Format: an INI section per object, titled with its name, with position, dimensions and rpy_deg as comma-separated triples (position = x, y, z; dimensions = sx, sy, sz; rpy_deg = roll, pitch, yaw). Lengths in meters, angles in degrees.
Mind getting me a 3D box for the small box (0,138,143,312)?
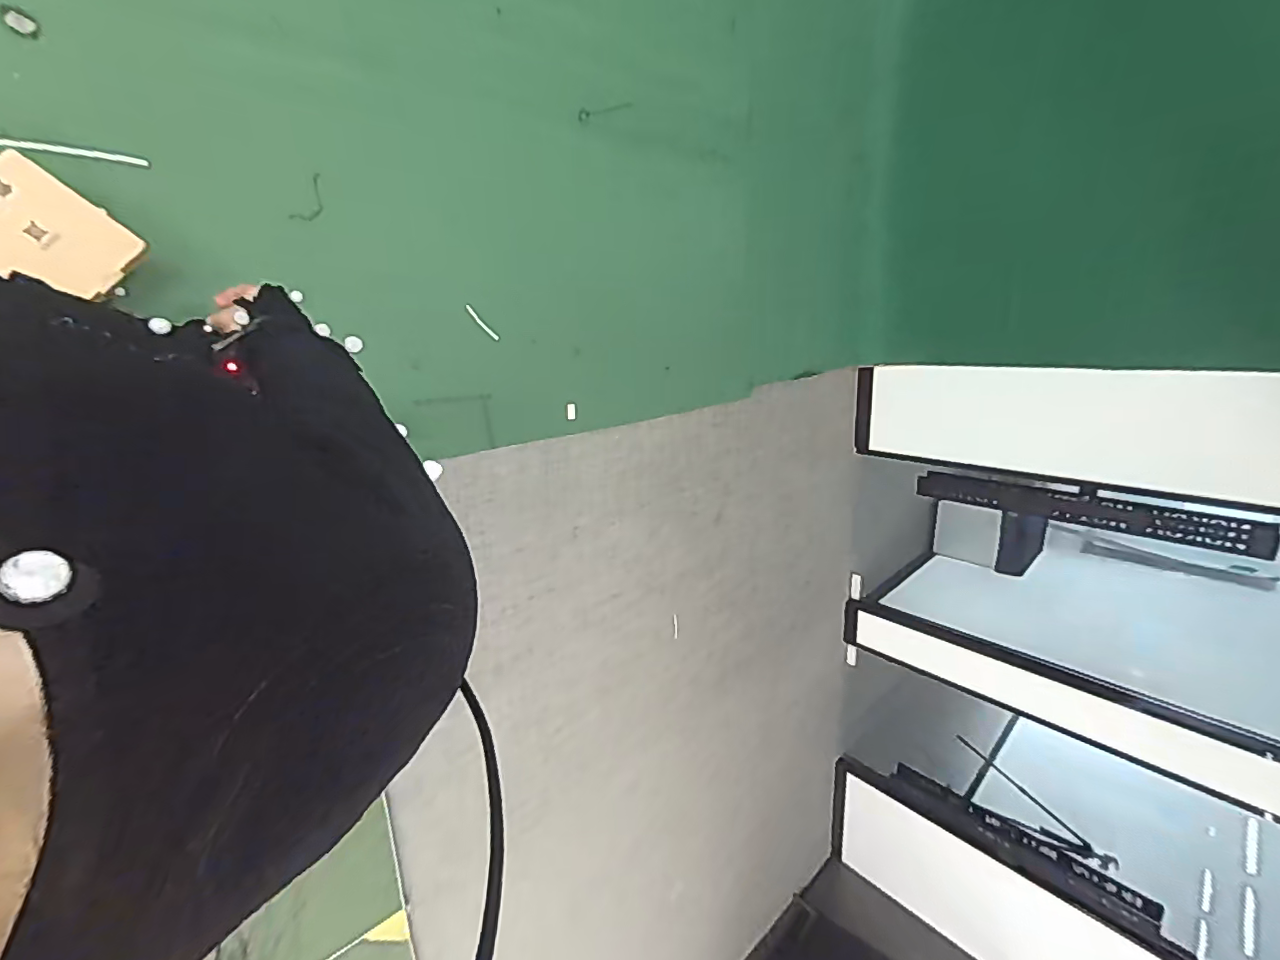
[small box]
position = -0.936, -0.385, 0.846
dimensions = 0.179, 0.176, 0.168
rpy_deg = 45, 70, -41
